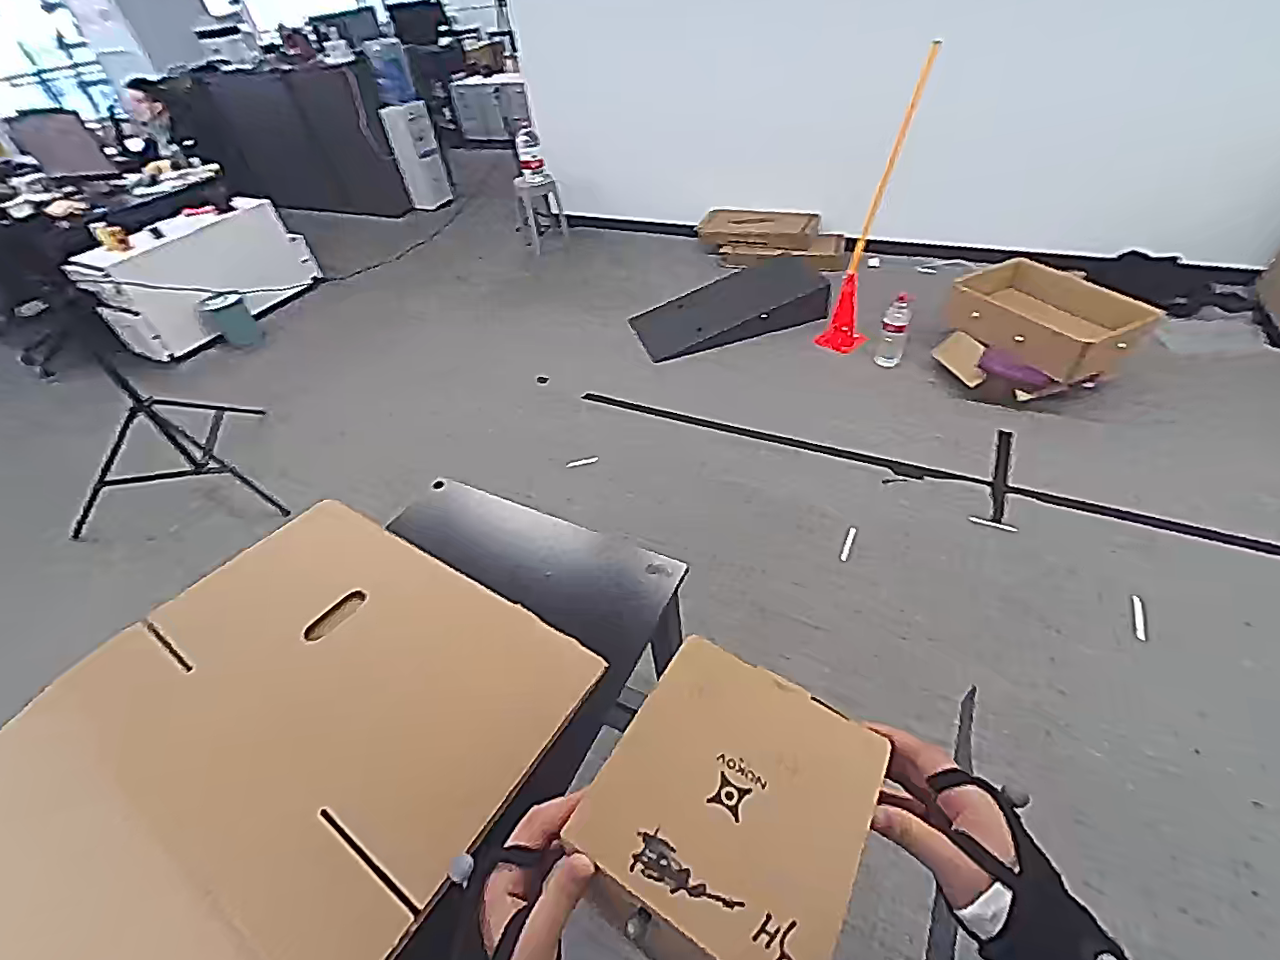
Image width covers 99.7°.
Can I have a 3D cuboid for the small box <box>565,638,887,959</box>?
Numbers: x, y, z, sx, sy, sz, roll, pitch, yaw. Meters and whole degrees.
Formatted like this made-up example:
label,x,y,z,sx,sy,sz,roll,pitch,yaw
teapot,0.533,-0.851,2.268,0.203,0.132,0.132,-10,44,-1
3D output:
label,x,y,z,sx,sy,sz,roll,pitch,yaw
small box,0.063,0.265,0.412,0.168,0.176,0.179,21,44,25
